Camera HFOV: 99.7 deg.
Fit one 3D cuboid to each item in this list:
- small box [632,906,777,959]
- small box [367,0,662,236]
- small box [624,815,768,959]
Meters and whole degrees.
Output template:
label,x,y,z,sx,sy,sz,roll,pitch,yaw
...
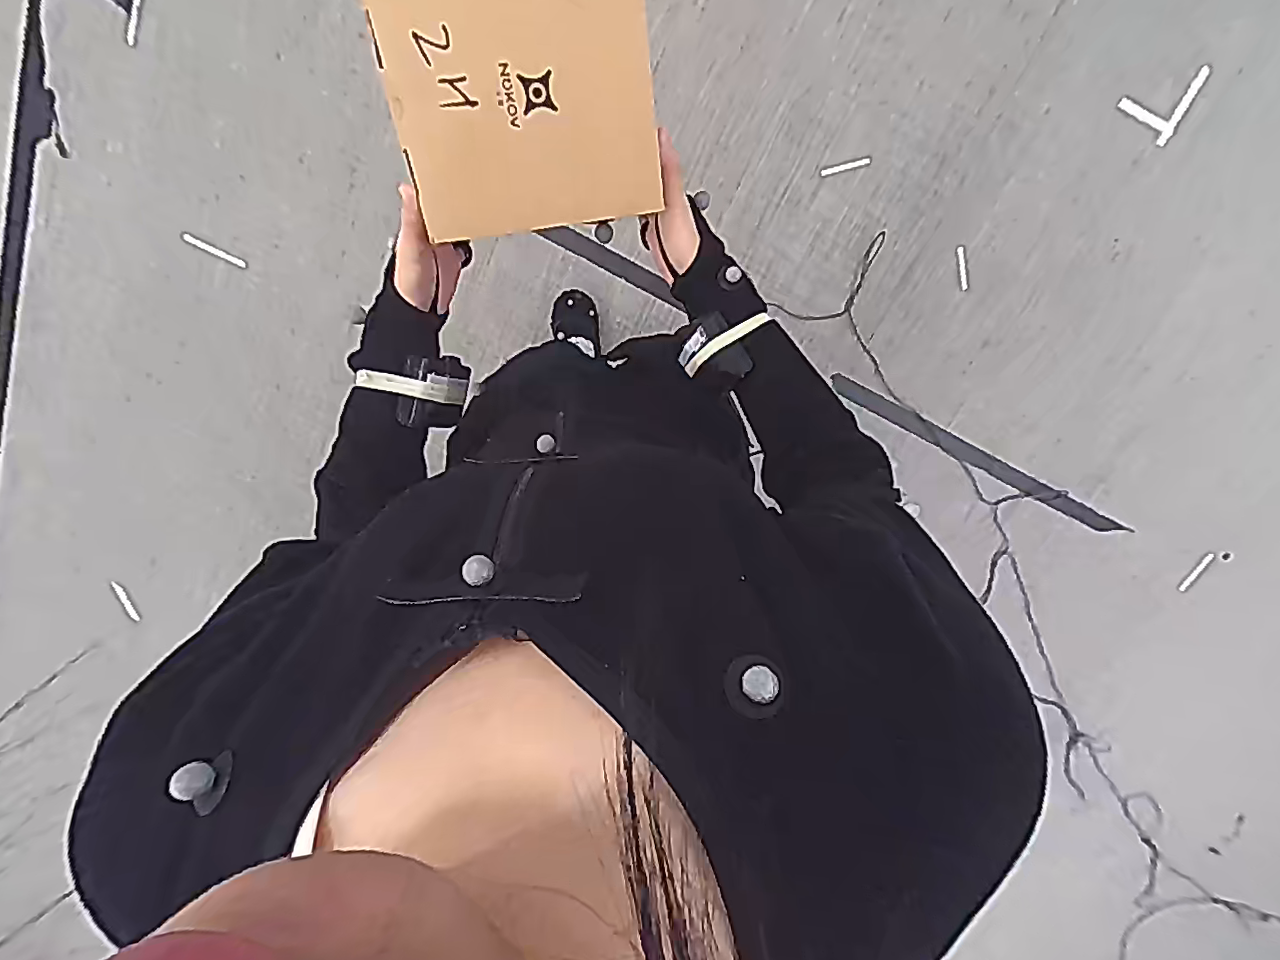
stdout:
label,x,y,z,sx,sy,sz,roll,pitch,yaw
small box,0.093,0.739,0.743,0.179,0.176,0.168,25,104,-7
small box,-0.087,-0.296,0.428,0.179,0.176,0.168,-9,117,-4
small box,0.084,0.702,0.900,0.179,0.176,0.168,22,106,-7
